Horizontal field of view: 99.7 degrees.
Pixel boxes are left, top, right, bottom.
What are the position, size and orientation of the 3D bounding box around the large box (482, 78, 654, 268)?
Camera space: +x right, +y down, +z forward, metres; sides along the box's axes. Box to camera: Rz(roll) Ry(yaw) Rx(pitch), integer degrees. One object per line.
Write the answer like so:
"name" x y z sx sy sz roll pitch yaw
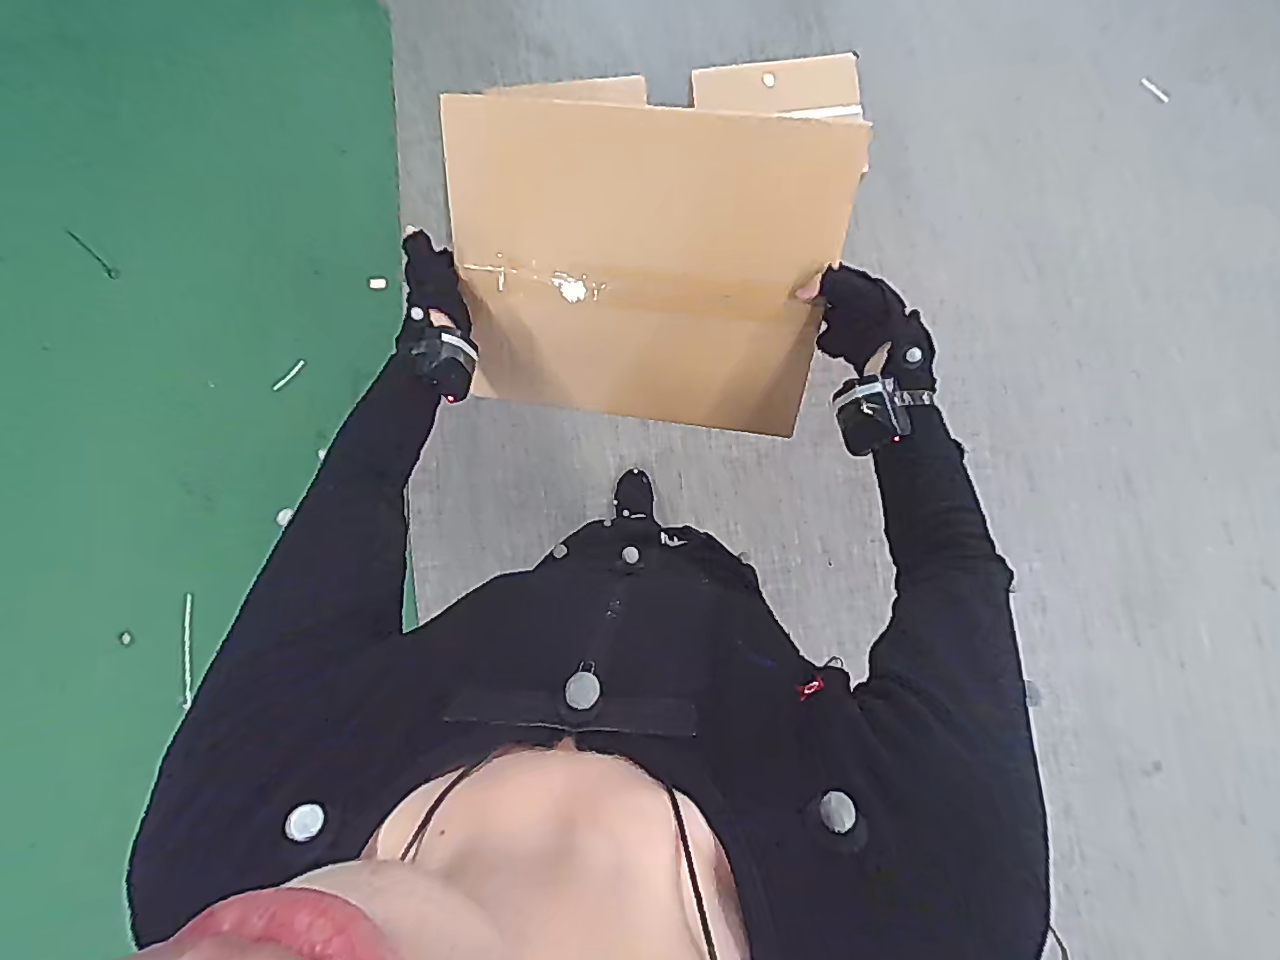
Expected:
"large box" -0.176 -0.807 1.467 0.408 0.320 0.320 -5 84 2
